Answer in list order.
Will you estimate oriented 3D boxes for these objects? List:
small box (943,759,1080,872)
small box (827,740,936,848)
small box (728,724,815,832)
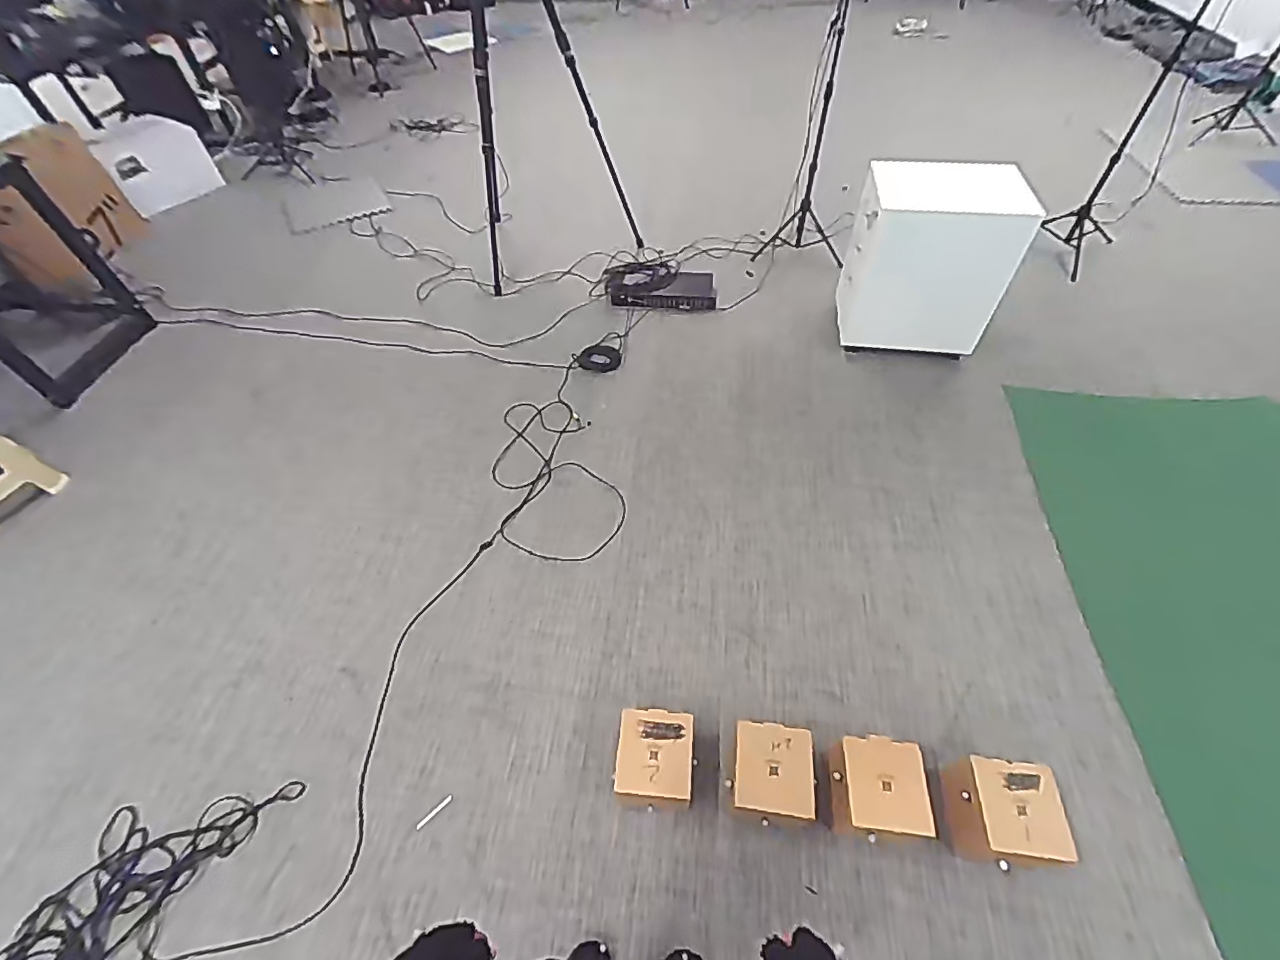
[{"bbox_3d":[0.782,0.723,1.163,0.168,0.176,0.179,4,52,6],"label":"small box"},{"bbox_3d":[0.522,0.697,1.195,0.168,0.176,0.179,4,51,5],"label":"small box"},{"bbox_3d":[0.292,0.676,1.218,0.168,0.176,0.179,6,51,6],"label":"small box"}]
